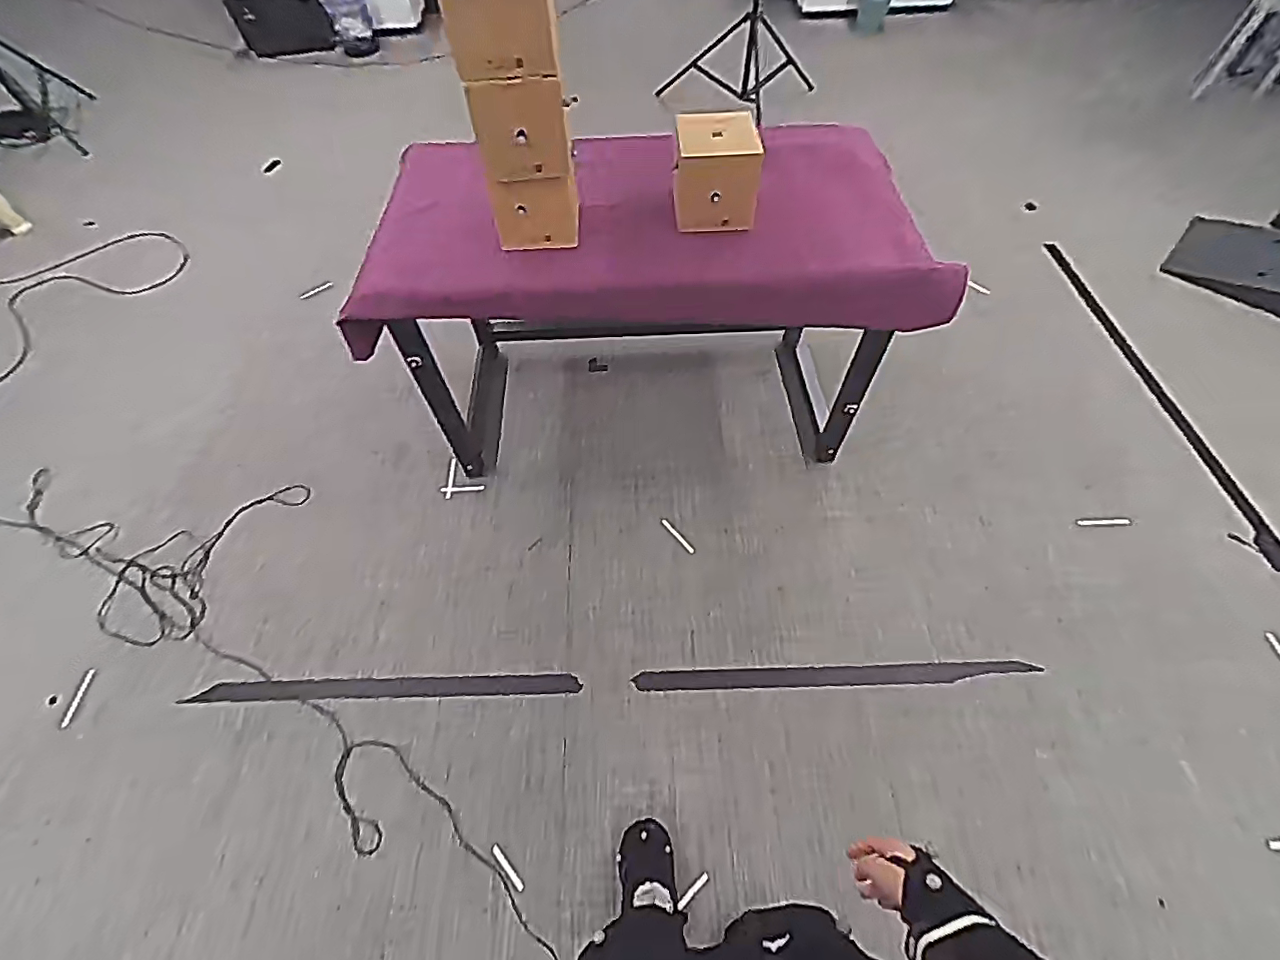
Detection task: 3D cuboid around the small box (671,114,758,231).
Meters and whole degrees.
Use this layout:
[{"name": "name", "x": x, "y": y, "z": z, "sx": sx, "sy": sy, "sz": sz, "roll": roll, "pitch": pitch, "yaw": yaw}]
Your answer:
[{"name": "small box", "x": 0.156, "y": -0.669, "z": 1.188, "sx": 0.168, "sy": 0.176, "sz": 0.179, "roll": -2, "pitch": 57, "yaw": -1}]

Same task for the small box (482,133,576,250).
[{"name": "small box", "x": -0.230, "y": -0.617, "z": 1.167, "sx": 0.168, "sy": 0.176, "sz": 0.179, "roll": -3, "pitch": 57, "yaw": -1}]

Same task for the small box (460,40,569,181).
[{"name": "small box", "x": -0.229, "y": -0.687, "z": 1.018, "sx": 0.168, "sy": 0.176, "sz": 0.179, "roll": -7, "pitch": 58, "yaw": -3}]
